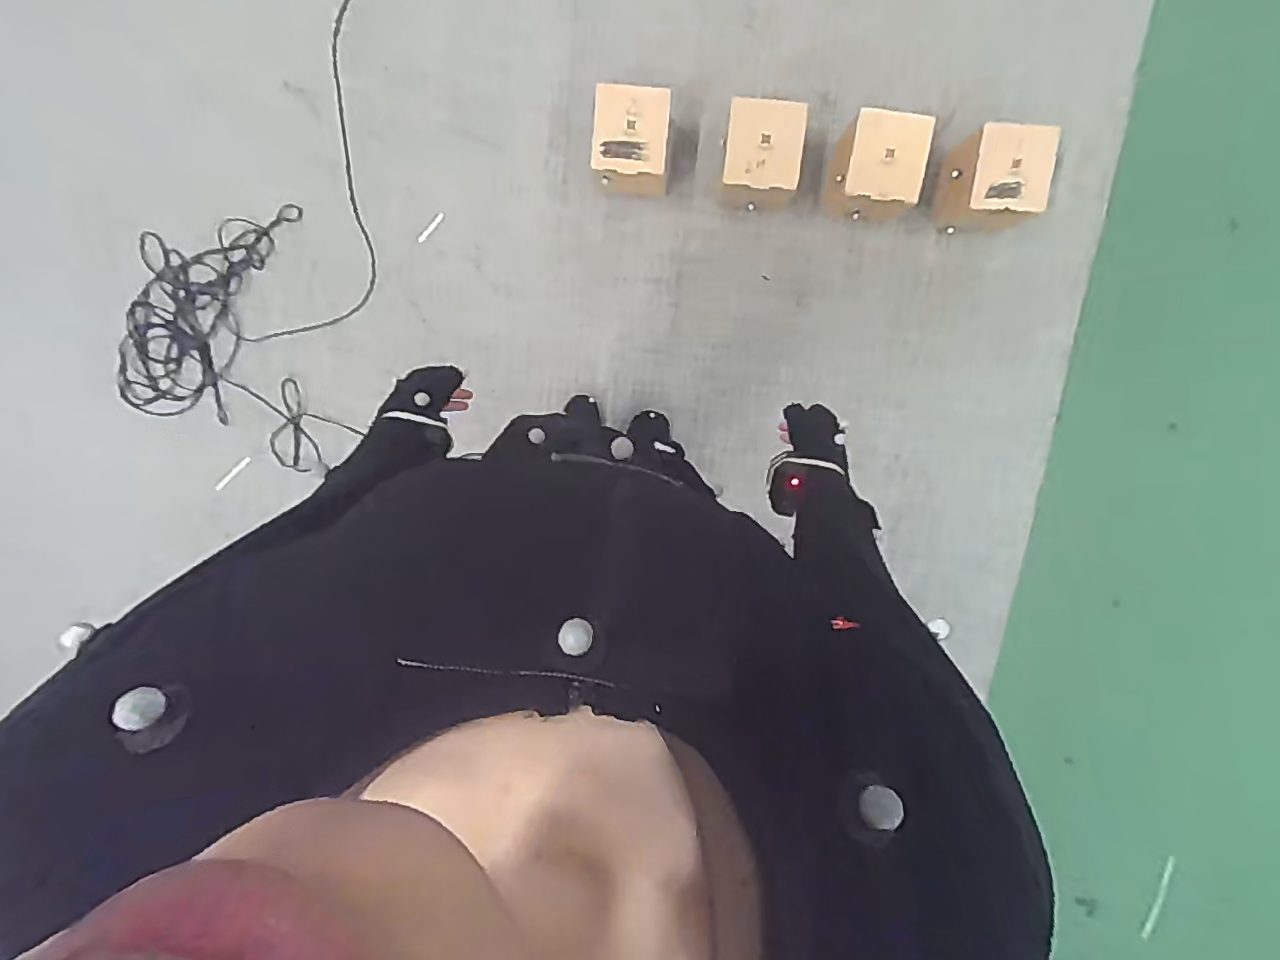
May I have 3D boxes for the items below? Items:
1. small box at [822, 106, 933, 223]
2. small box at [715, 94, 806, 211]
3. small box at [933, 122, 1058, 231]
[{"bbox_3d":[0.535,-0.717,1.246,0.168,0.176,0.179,8,101,0],"label":"small box"},{"bbox_3d":[0.268,-0.746,1.246,0.168,0.176,0.179,6,101,2],"label":"small box"},{"bbox_3d":[0.802,-0.686,1.242,0.168,0.176,0.179,5,100,1],"label":"small box"}]
